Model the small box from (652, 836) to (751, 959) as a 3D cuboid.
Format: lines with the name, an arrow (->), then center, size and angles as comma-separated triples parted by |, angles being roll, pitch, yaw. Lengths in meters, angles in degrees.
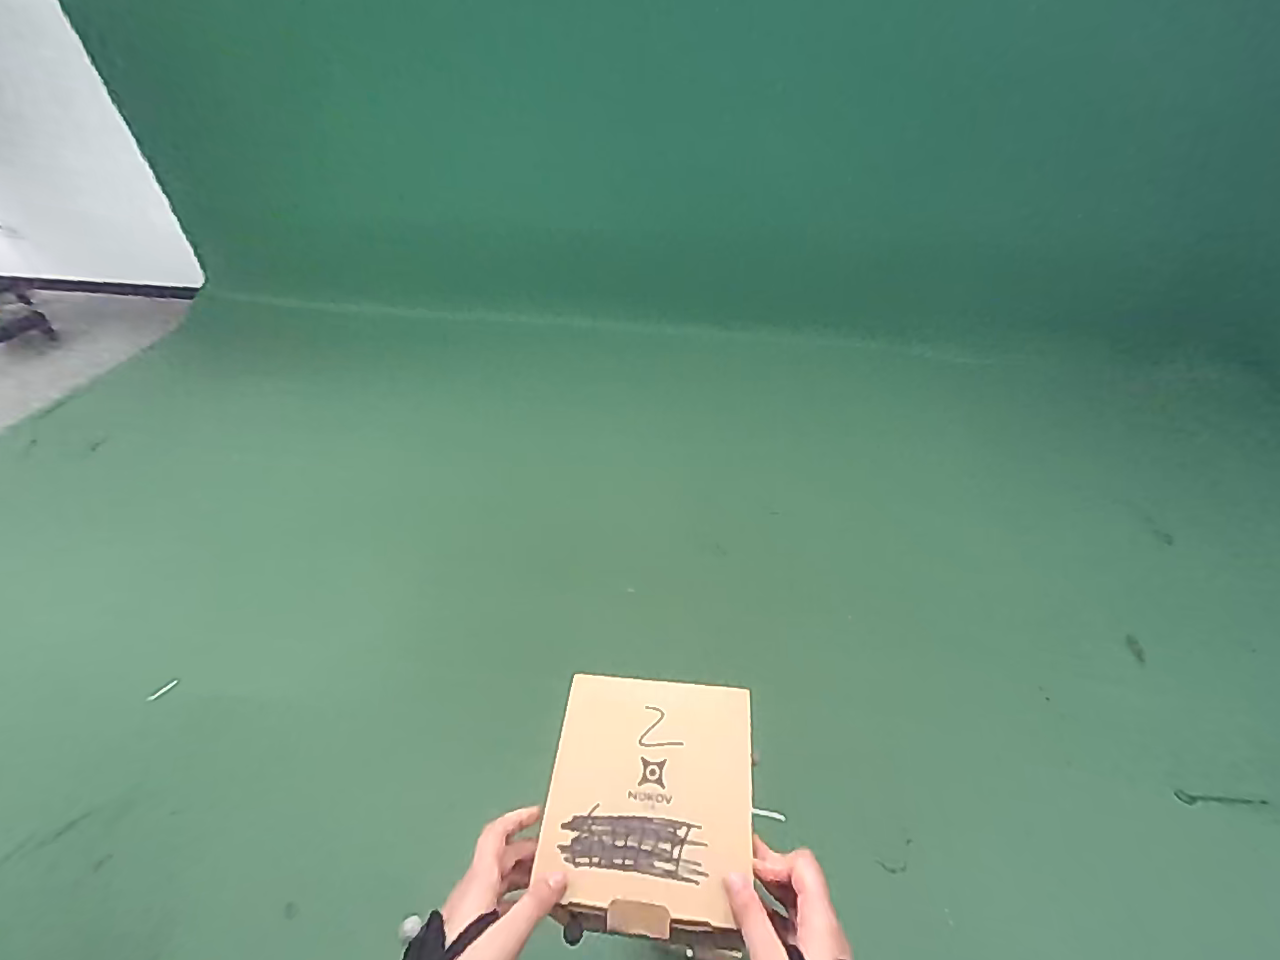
small box -> 0.128, 0.882, 1.132 | 0.179, 0.176, 0.168 | 9, 44, 10
